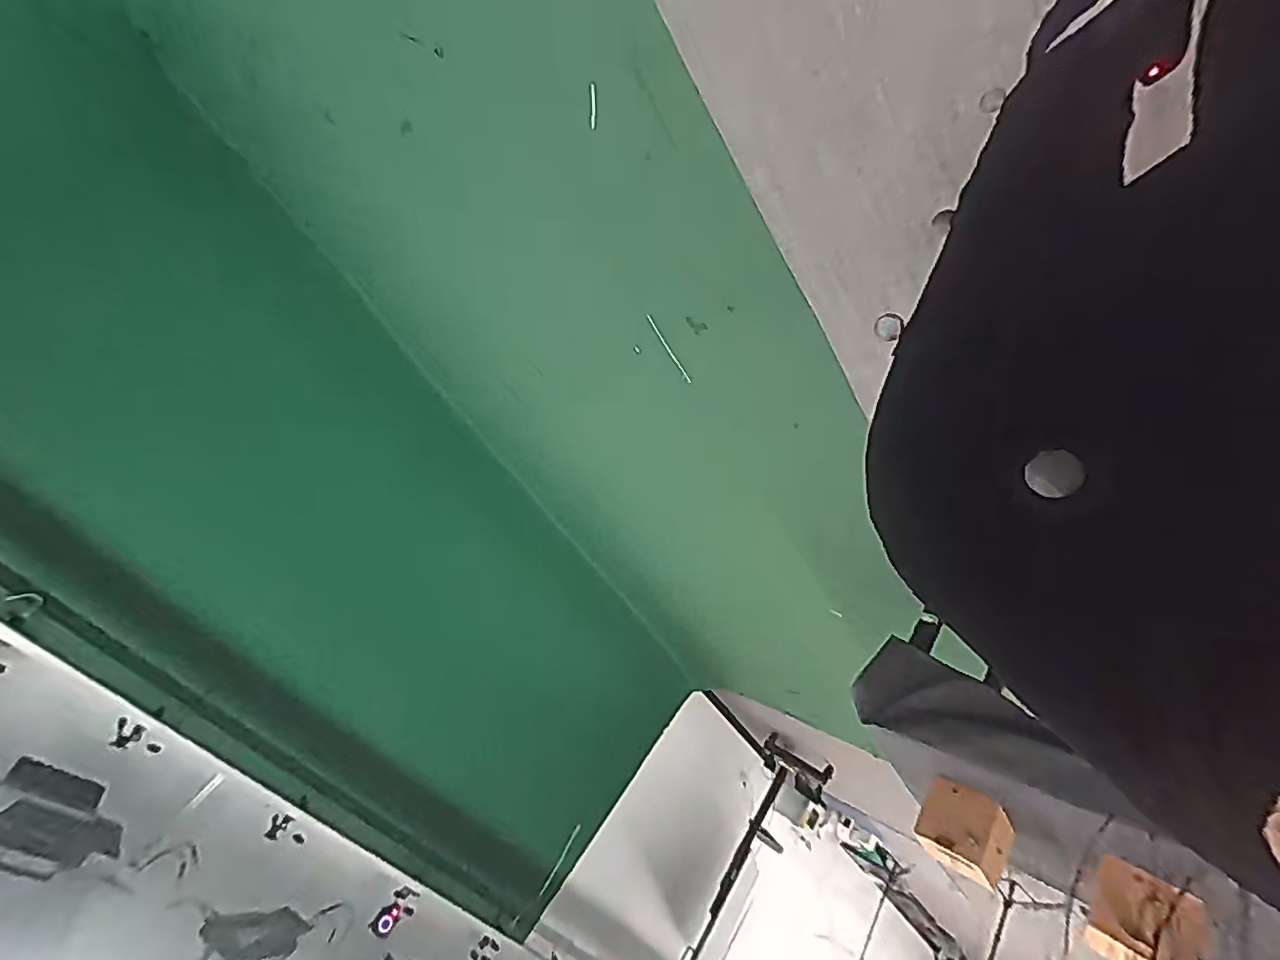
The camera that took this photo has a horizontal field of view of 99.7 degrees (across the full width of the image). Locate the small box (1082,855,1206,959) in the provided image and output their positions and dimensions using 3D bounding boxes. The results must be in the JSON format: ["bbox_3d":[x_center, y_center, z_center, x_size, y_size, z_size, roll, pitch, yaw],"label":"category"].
[{"bbox_3d":[1.097,0.974,1.182,0.168,0.176,0.179,15,143,45],"label":"small box"}]
